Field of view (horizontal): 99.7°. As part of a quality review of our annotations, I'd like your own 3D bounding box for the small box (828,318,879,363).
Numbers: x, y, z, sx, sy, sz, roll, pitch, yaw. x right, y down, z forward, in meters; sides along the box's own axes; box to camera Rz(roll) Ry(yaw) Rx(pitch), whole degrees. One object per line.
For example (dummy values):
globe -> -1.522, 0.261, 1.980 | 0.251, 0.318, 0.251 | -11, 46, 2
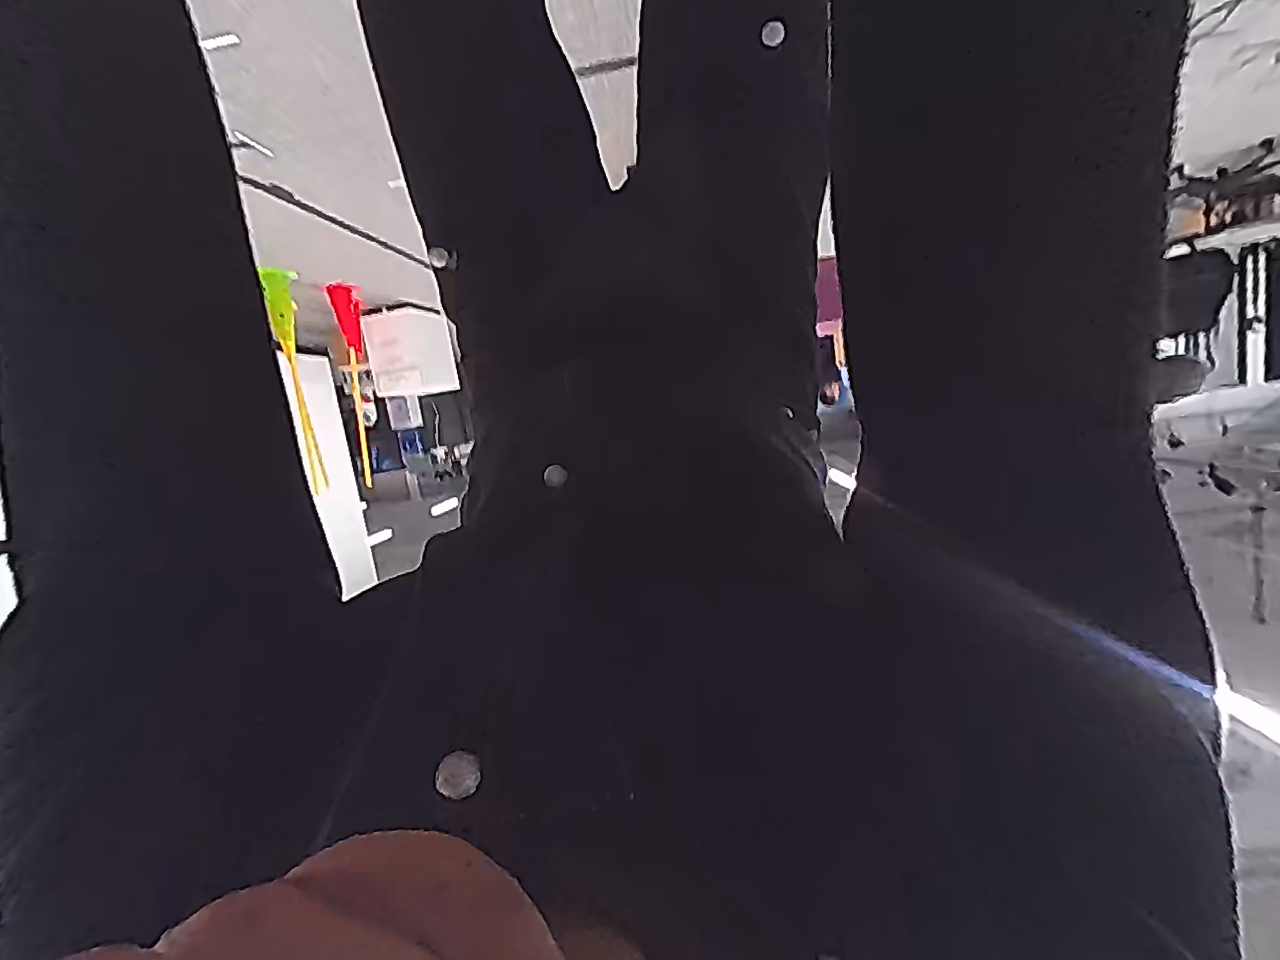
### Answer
small box -> 0.979, -0.641, 2.487 | 0.179, 0.176, 0.168 | -7, -172, 9
